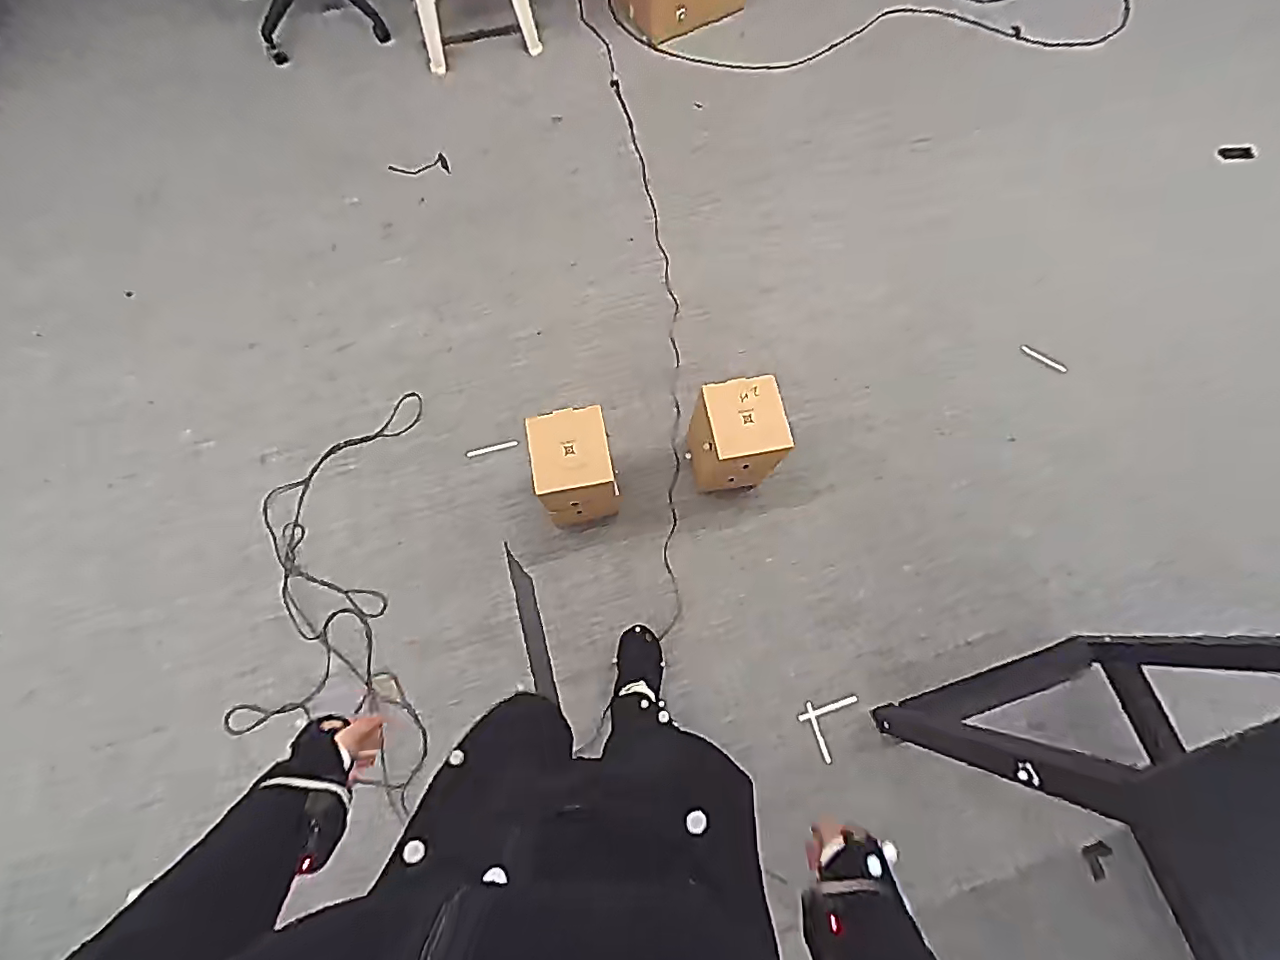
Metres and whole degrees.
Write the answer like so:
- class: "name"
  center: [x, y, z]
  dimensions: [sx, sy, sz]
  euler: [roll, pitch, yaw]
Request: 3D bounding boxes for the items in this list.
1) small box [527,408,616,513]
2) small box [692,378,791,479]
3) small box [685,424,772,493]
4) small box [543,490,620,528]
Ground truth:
- class: "small box"
  center: [-0.149, -0.039, 1.211]
  dimensions: [0.168, 0.176, 0.179]
  euler: [-11, 75, -3]
- class: "small box"
  center: [0.224, -0.109, 1.237]
  dimensions: [0.168, 0.176, 0.179]
  euler: [-10, 74, -5]
- class: "small box"
  center: [0.222, -0.072, 1.398]
  dimensions: [0.179, 0.176, 0.168]
  euler: [-8, 73, -3]
- class: "small box"
  center: [-0.155, 0.012, 1.367]
  dimensions: [0.179, 0.176, 0.168]
  euler: [-15, 74, -5]
